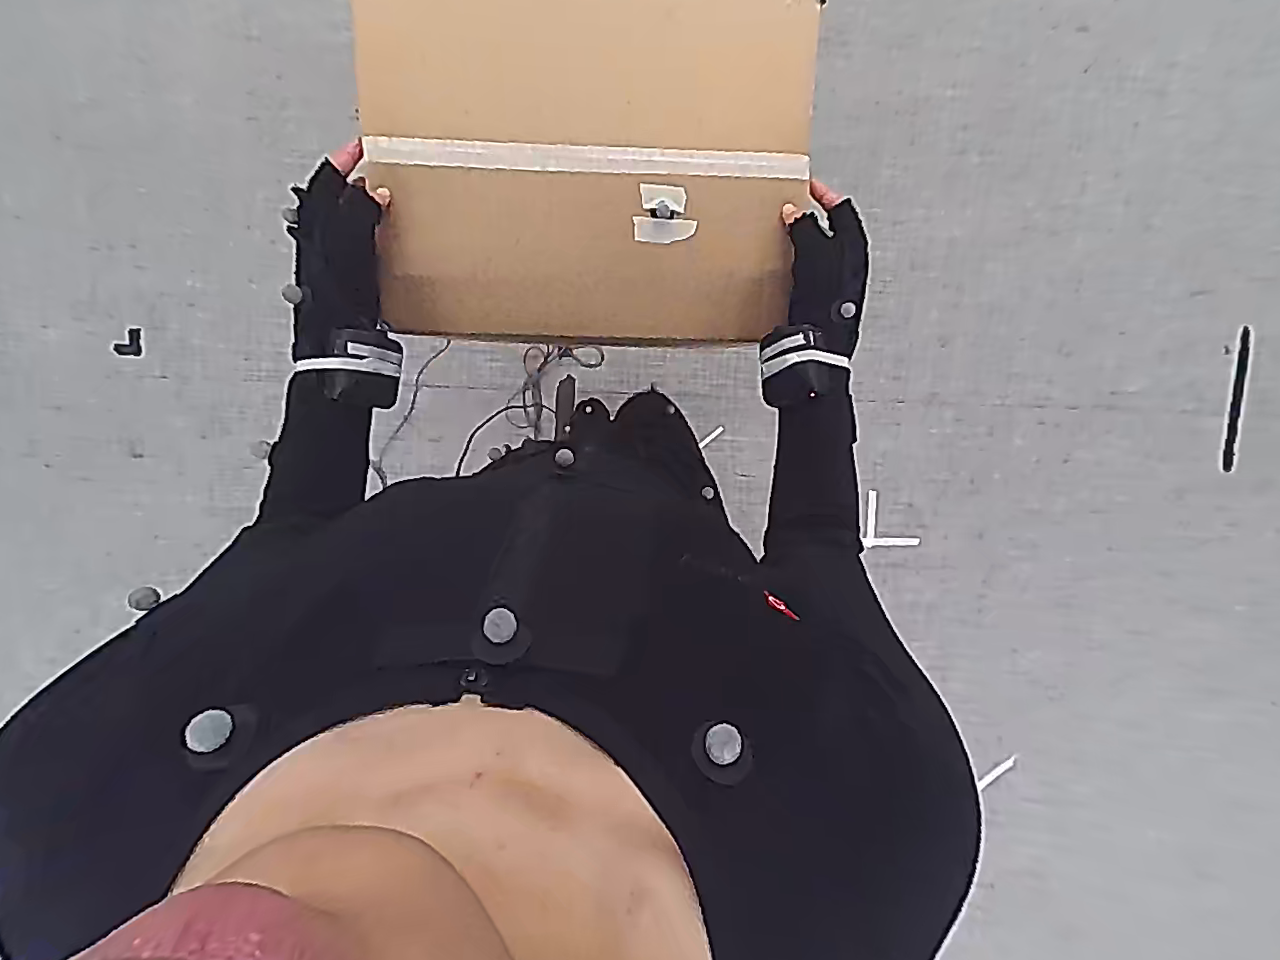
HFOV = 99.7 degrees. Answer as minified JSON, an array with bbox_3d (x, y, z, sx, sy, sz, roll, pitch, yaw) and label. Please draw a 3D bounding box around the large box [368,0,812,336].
[{"bbox_3d":[-0.053,-0.342,0.652,0.408,0.320,0.320,0,103,-5],"label":"large box"}]
